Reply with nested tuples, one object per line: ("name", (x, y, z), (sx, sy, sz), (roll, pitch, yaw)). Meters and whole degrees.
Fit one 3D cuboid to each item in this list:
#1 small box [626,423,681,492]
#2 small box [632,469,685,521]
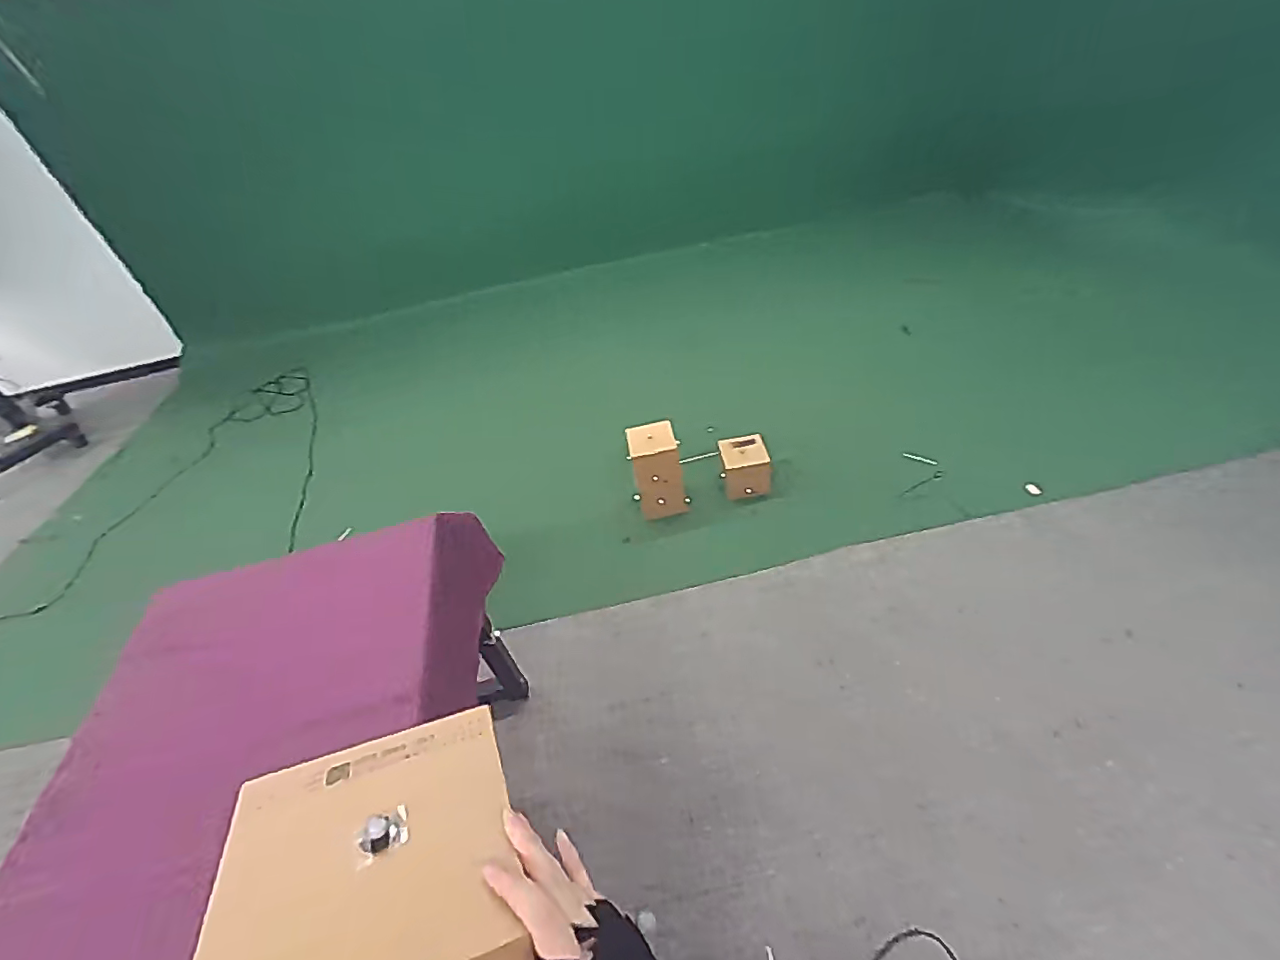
("small box", (0.049, -0.083, 1.999), (0.168, 0.176, 0.179), (-12, 41, 1))
("small box", (0.075, 0.036, 2.108), (0.179, 0.176, 0.168), (-13, 40, 1))
